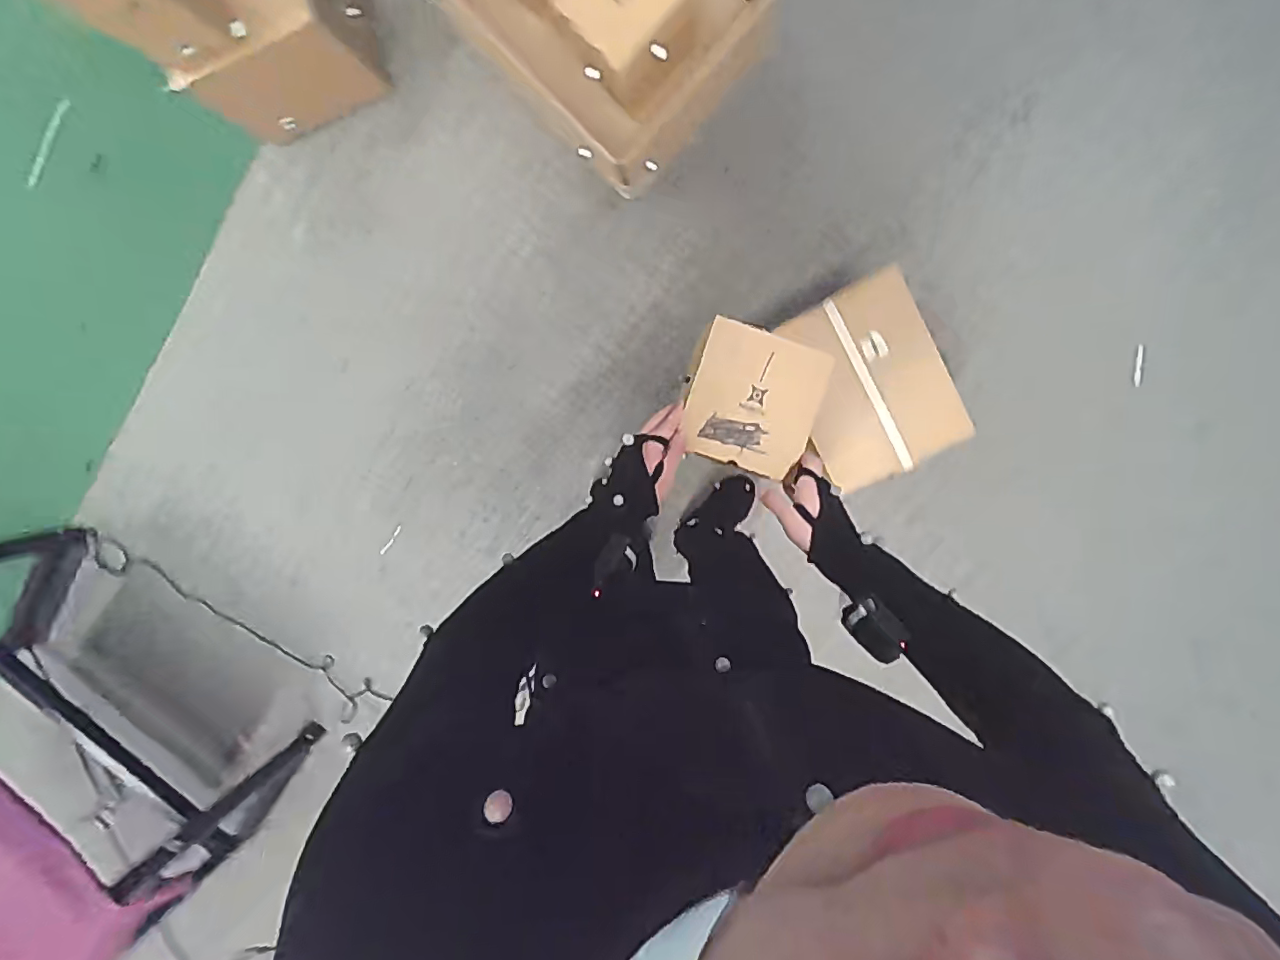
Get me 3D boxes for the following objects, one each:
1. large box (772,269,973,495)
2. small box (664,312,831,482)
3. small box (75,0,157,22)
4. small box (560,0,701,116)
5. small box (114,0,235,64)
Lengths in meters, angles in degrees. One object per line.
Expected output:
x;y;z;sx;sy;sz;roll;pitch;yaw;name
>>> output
0.512;-0.223;1.317;0.320;0.320;0.408;-27;92;11;large box
0.135;-0.108;0.755;0.168;0.176;0.179;17;93;-4;small box
-1.064;-1.036;1.020;0.168;0.176;0.179;-16;96;10;small box
-0.007;-0.805;0.954;0.179;0.176;0.168;-43;90;13;small box
-1.044;-1.070;1.179;0.168;0.176;0.179;-15;97;11;small box
